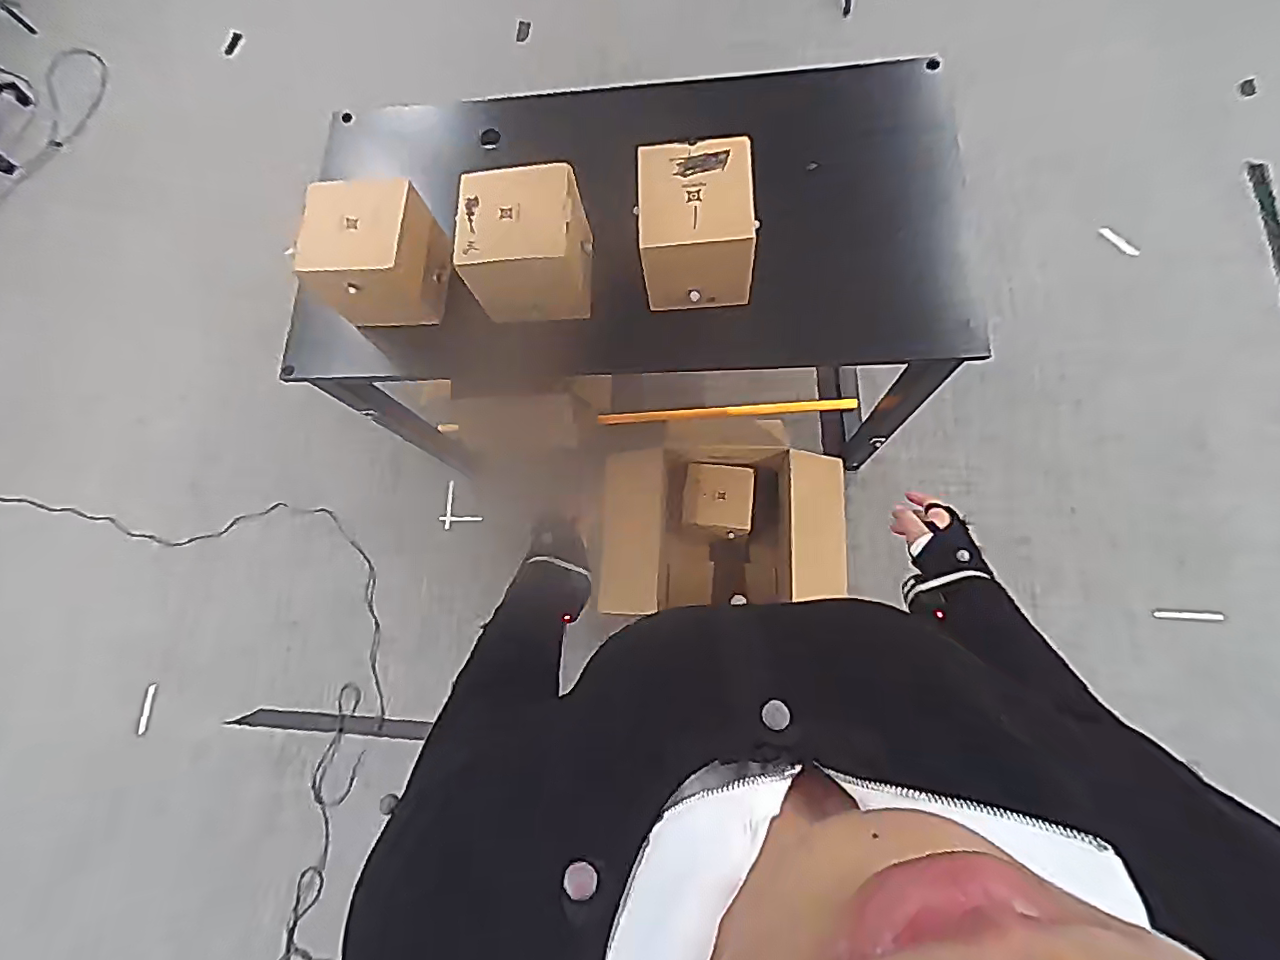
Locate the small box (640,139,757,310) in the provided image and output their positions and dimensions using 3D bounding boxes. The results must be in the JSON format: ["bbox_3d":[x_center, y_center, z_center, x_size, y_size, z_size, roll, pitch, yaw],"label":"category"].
[{"bbox_3d":[0.090,-0.394,0.854,0.168,0.176,0.179,-2,76,7],"label":"small box"}]

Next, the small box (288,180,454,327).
[{"bbox_3d":[-0.441,-0.372,0.914,0.179,0.176,0.168,1,76,6],"label":"small box"}]

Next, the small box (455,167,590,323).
[{"bbox_3d":[-0.180,-0.374,0.883,0.179,0.176,0.168,-2,75,5],"label":"small box"}]
